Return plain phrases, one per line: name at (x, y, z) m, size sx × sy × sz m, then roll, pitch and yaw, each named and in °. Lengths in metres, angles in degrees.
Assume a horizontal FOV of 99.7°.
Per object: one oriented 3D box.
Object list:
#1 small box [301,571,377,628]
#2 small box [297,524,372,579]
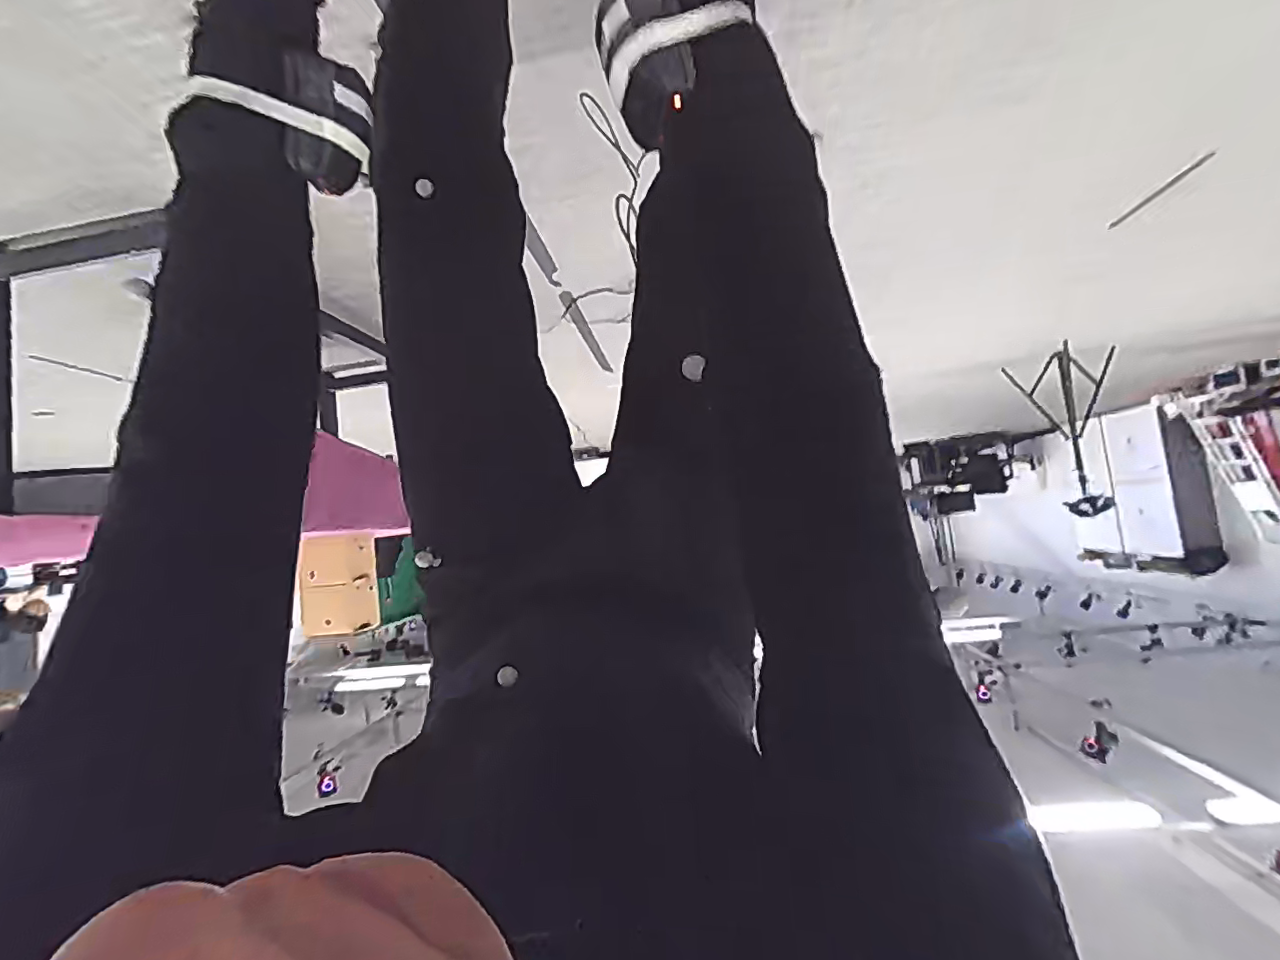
small box at (-1.055, 0.410, 1.894) m, size 0.179 × 0.176 × 0.168 m, roll -6°, pitch 176°, yaw 11°
small box at (-1.073, 0.247, 1.902) m, size 0.179 × 0.176 × 0.168 m, roll -7°, pitch 177°, yaw 6°
